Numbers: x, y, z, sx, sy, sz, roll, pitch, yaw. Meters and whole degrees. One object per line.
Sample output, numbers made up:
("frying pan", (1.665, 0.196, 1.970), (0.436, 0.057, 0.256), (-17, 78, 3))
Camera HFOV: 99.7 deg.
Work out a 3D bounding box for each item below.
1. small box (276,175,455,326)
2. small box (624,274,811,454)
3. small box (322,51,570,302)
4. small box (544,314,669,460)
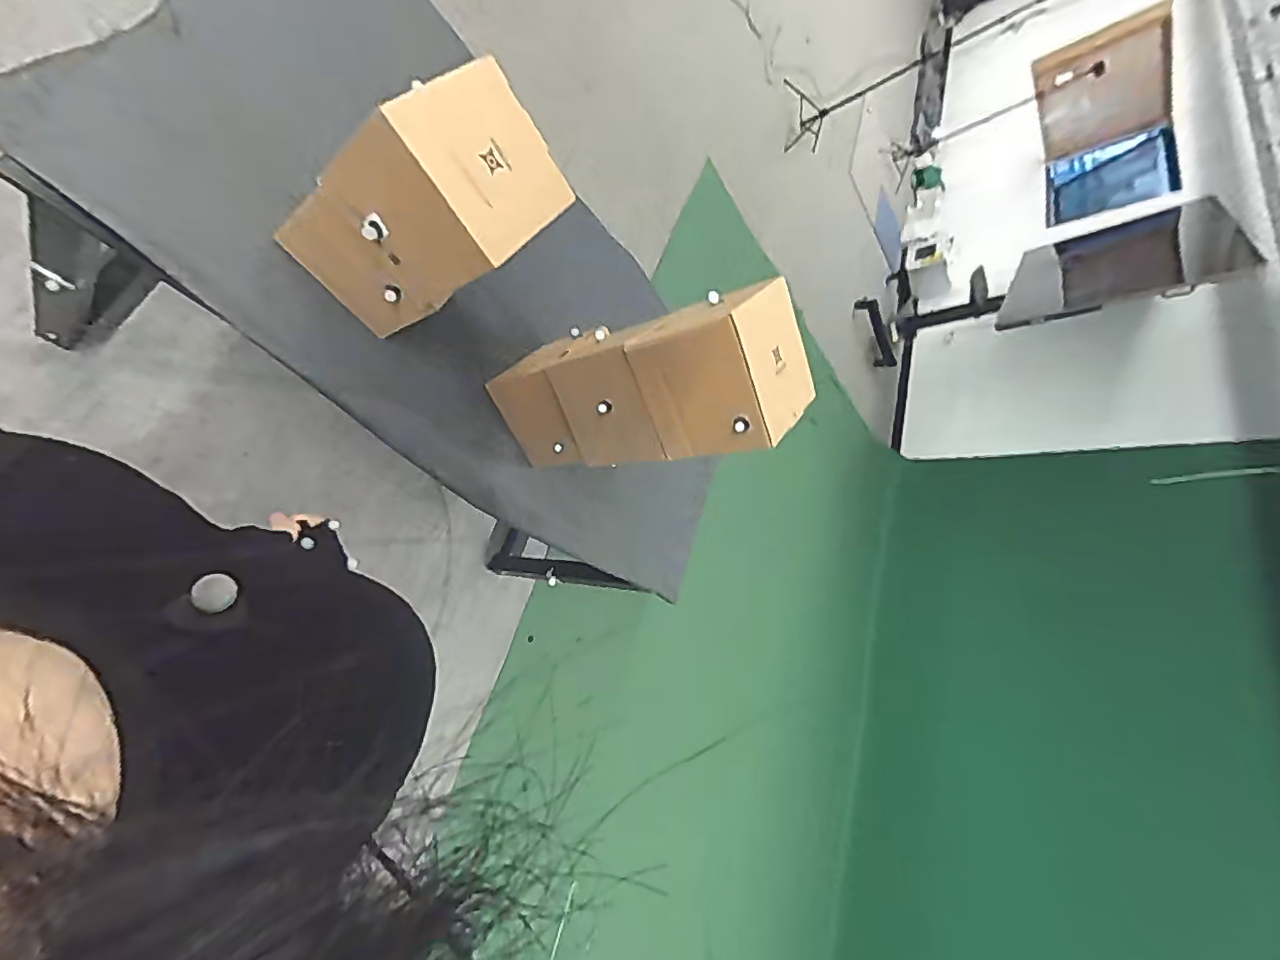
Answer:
("small box", (-0.341, -0.331, 0.732), (0.179, 0.176, 0.168), (49, 53, -34))
("small box", (0.106, -0.150, 0.728), (0.168, 0.176, 0.179), (-43, 119, -42))
("small box", (-0.221, -0.337, 0.622), (0.168, 0.176, 0.179), (53, 52, -30))
("small box", (-0.015, -0.140, 0.837), (0.168, 0.176, 0.179), (-40, 116, -43))
